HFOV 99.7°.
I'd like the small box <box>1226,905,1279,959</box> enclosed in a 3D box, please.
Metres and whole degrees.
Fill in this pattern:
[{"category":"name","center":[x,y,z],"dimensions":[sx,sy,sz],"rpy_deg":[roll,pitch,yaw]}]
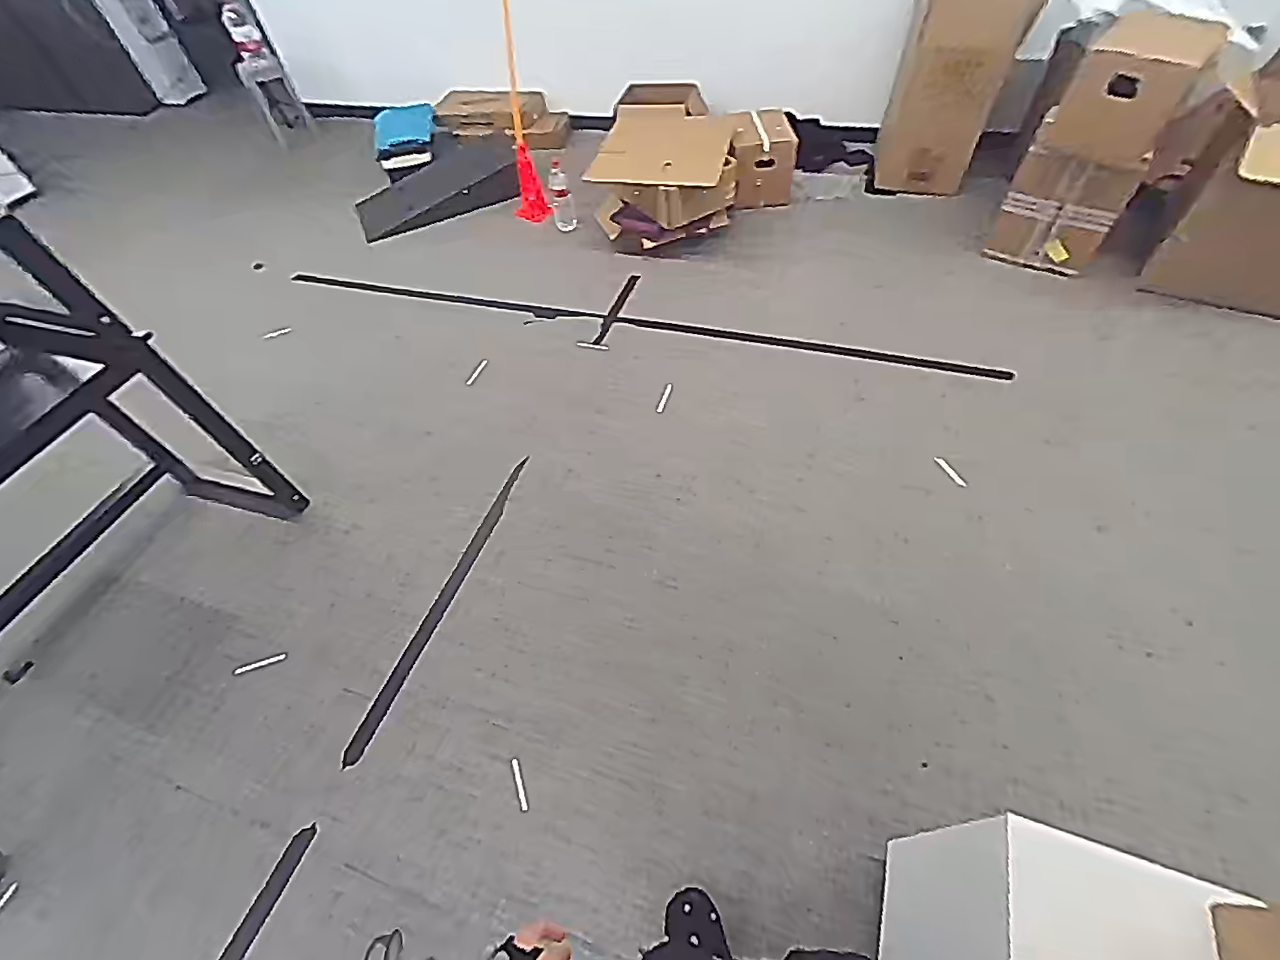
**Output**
[{"category":"small box","center":[0.736,0.545,0.525],"dimensions":[0.179,0.176,0.168],"rpy_deg":[13,57,17]}]
